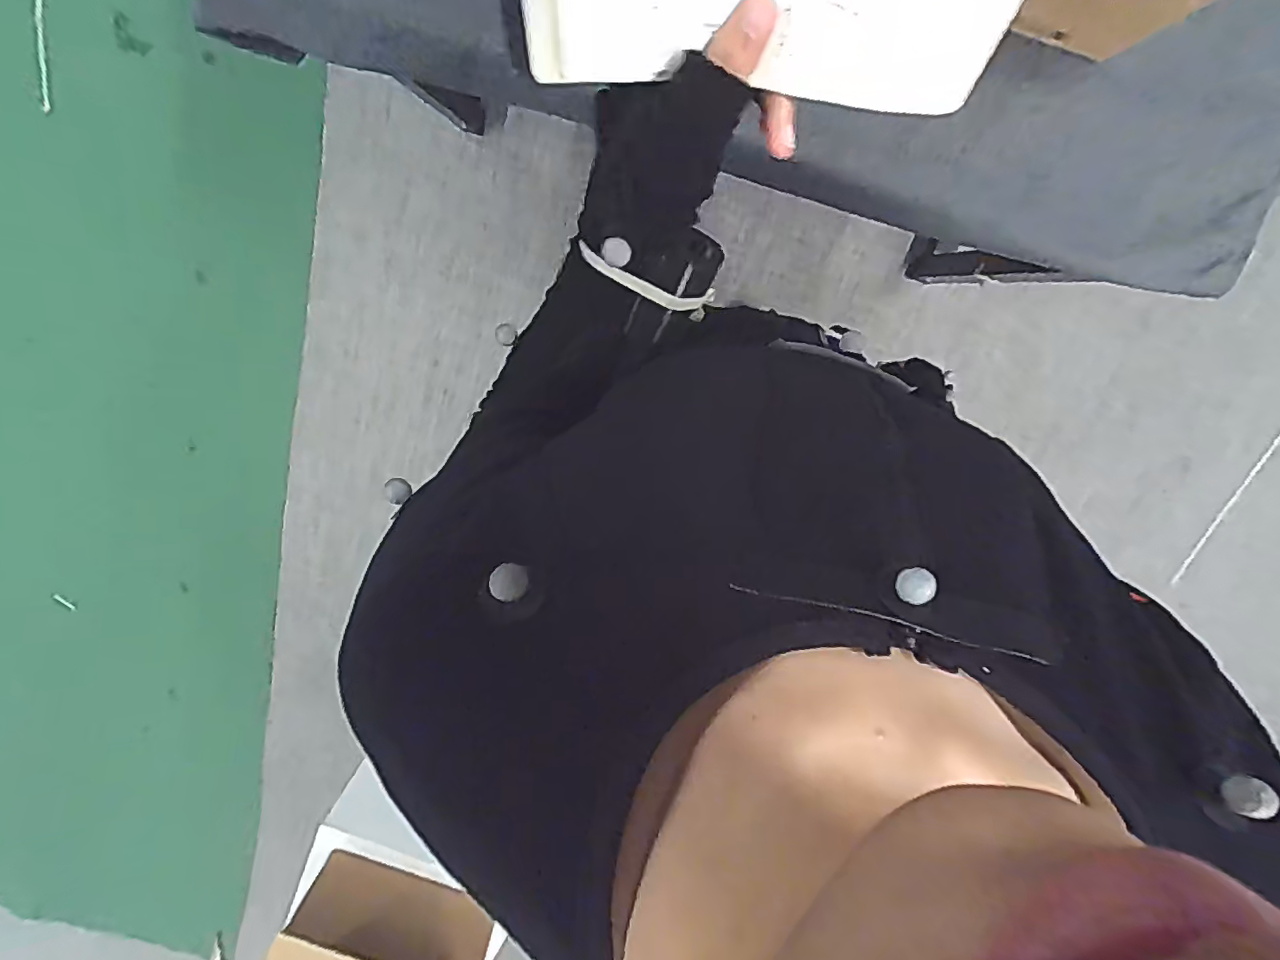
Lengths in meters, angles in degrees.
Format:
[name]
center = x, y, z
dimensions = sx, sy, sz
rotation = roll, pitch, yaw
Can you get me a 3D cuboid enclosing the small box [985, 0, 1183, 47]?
[small box]
center = 0.428, -0.519, 0.459
dimensions = 0.168, 0.176, 0.179
rotation = 16, 108, -3
